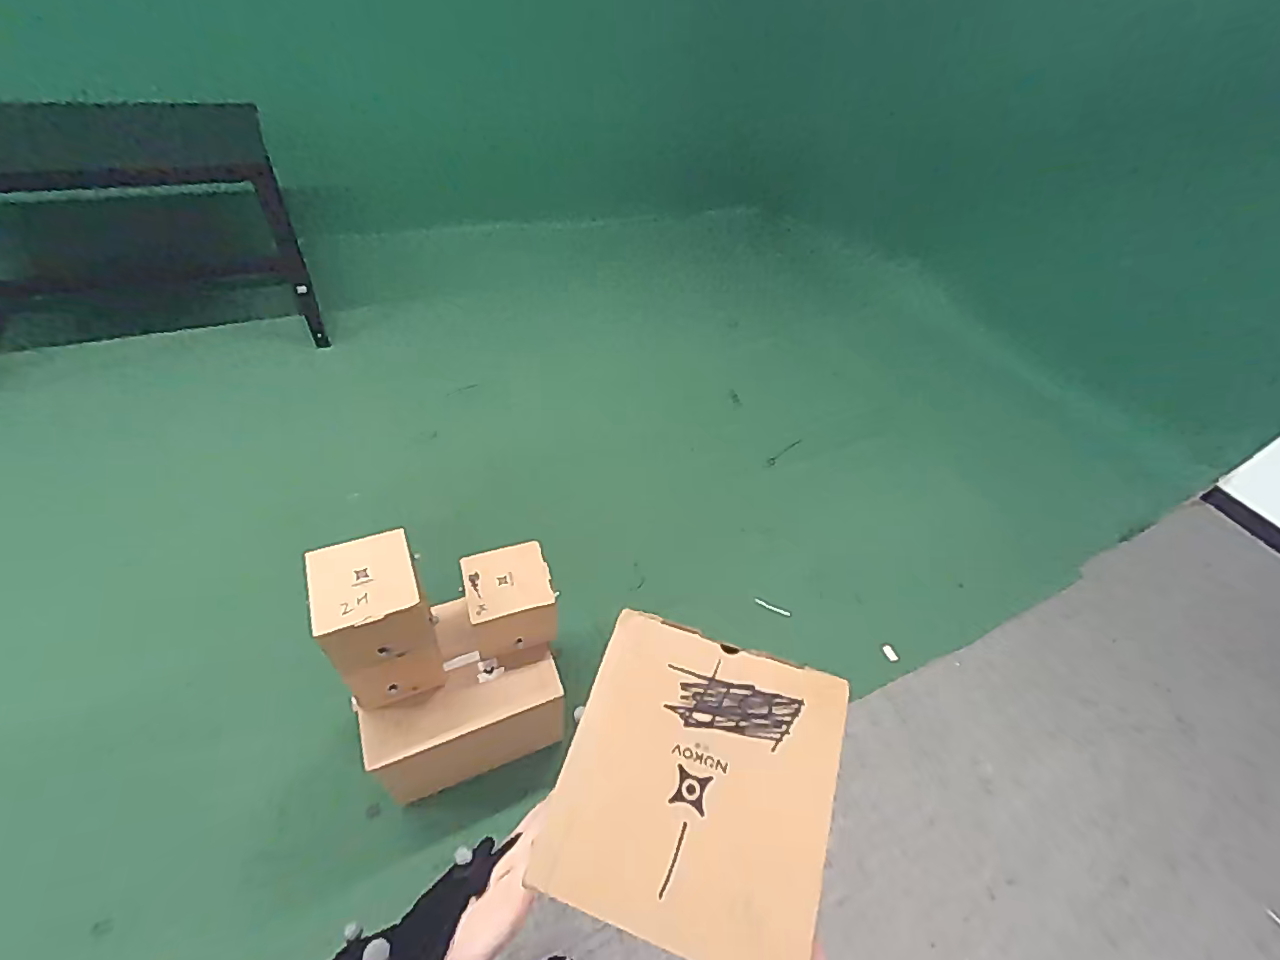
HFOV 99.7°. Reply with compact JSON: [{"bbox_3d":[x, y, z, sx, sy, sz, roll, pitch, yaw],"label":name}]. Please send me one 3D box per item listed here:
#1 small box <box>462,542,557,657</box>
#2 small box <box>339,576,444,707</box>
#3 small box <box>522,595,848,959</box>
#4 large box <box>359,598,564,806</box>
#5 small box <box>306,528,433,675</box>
[{"bbox_3d":[-0.287,0.265,1.195,0.179,0.176,0.168,-10,50,-17],"label":"small box"},{"bbox_3d":[-0.510,0.330,1.106,0.168,0.176,0.179,-14,52,-21],"label":"small box"},{"bbox_3d":[0.038,0.215,0.401,0.168,0.176,0.179,15,61,13],"label":"small box"},{"bbox_3d":[-0.421,0.503,1.293,0.408,0.320,0.320,-14,52,-21],"label":"large box"},{"bbox_3d":[-0.488,0.220,0.985,0.168,0.176,0.179,-15,52,-22],"label":"small box"}]
